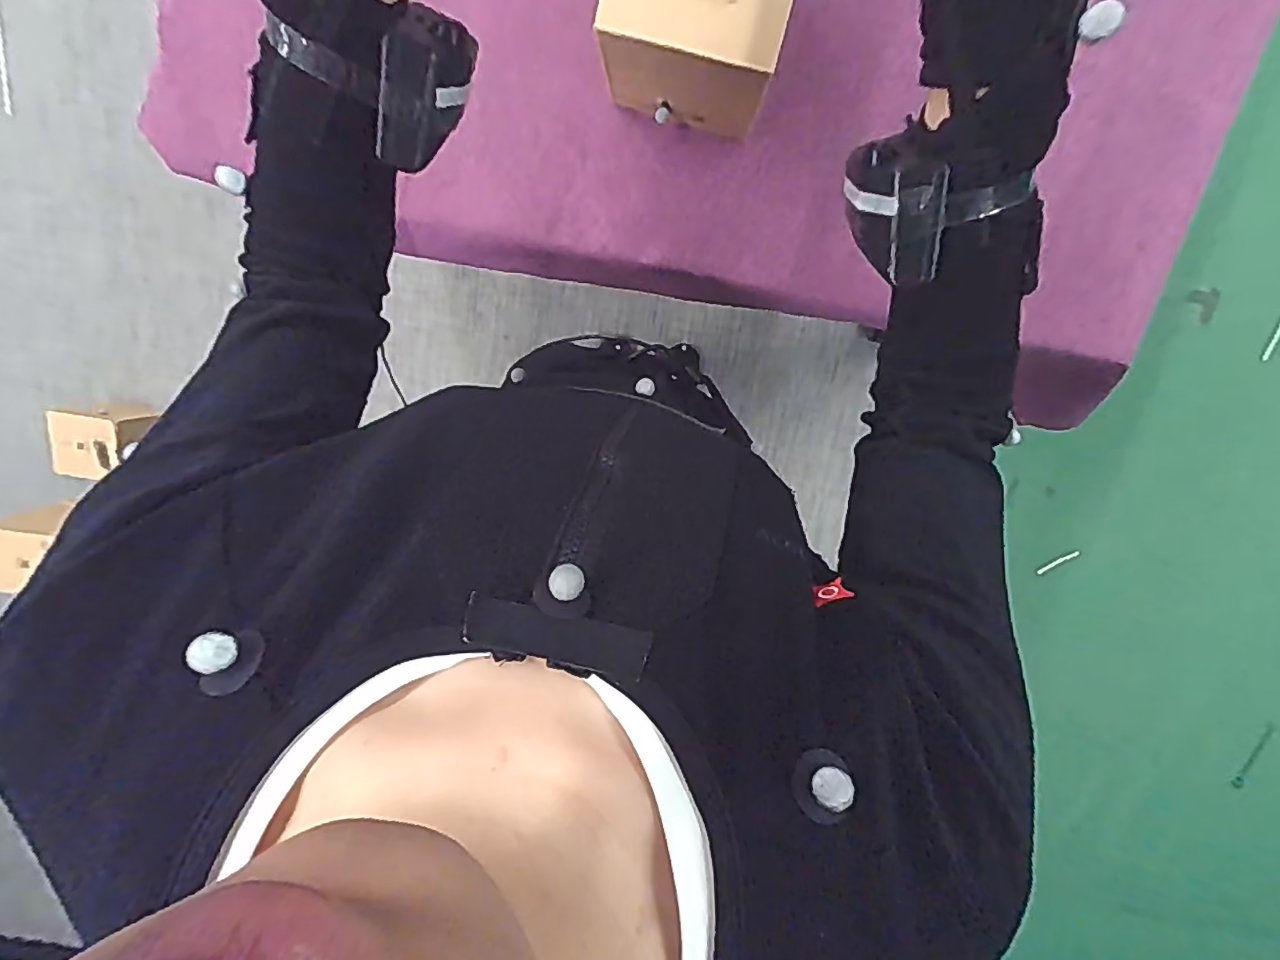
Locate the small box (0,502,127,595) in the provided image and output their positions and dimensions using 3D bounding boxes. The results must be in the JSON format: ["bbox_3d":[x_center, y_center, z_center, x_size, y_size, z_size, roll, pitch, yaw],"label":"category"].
[{"bbox_3d":[-1.436,0.161,1.338,0.179,0.176,0.168,10,105,1],"label":"small box"}]

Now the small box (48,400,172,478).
[{"bbox_3d":[-1.388,-0.114,1.433,0.179,0.176,0.168,9,104,1],"label":"small box"}]

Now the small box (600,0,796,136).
[{"bbox_3d":[0.066,-0.482,0.533,0.168,0.176,0.179,15,105,-1],"label":"small box"}]
